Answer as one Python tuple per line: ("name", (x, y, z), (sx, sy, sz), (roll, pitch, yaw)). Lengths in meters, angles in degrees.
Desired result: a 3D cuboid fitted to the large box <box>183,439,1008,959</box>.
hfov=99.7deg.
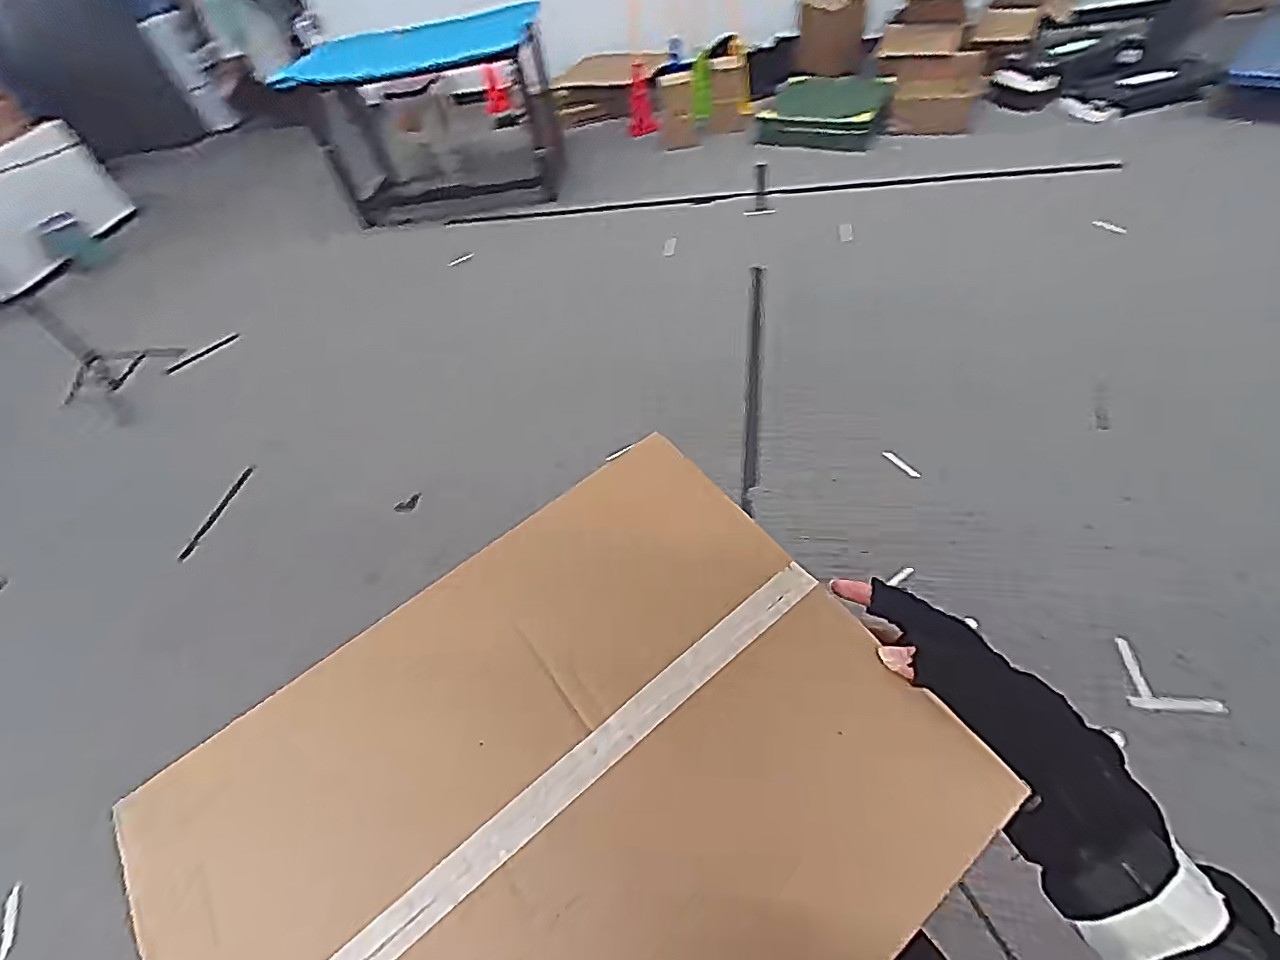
("large box", (-0.027, 0.251, 0.444), (0.408, 0.320, 0.320), (-35, 63, -15))
